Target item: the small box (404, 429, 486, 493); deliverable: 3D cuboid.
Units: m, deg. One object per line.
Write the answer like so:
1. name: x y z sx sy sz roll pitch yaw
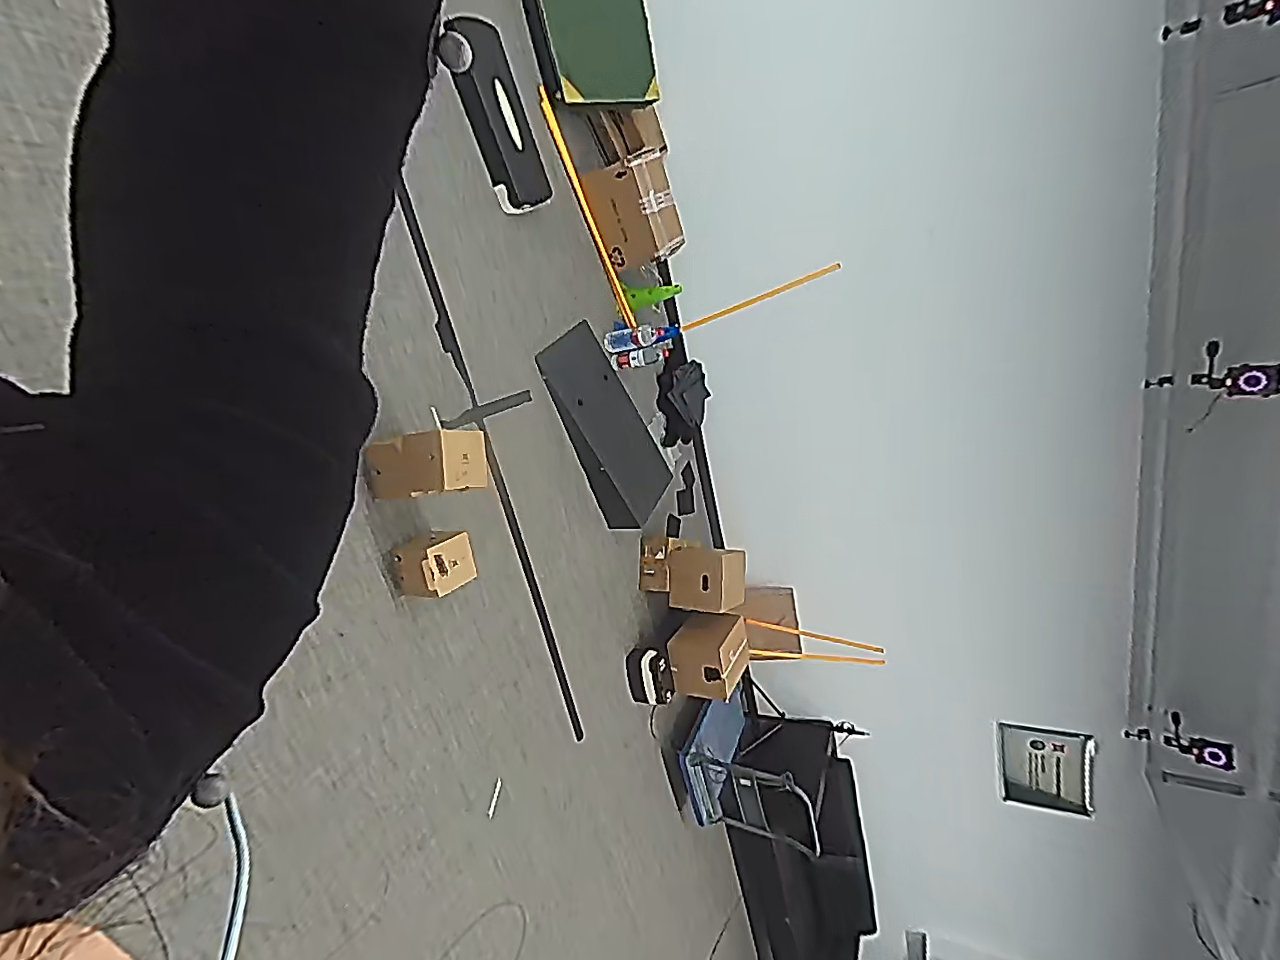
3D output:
1. small box: -0.588 -0.055 1.626 0.168 0.176 0.179 -6 92 -60

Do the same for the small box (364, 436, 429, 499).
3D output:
1. small box: -0.733 -0.045 1.705 0.168 0.176 0.179 -30 114 -58

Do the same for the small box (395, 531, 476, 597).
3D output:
1. small box: -0.677 0.274 1.777 0.179 0.176 0.168 -29 113 -59
